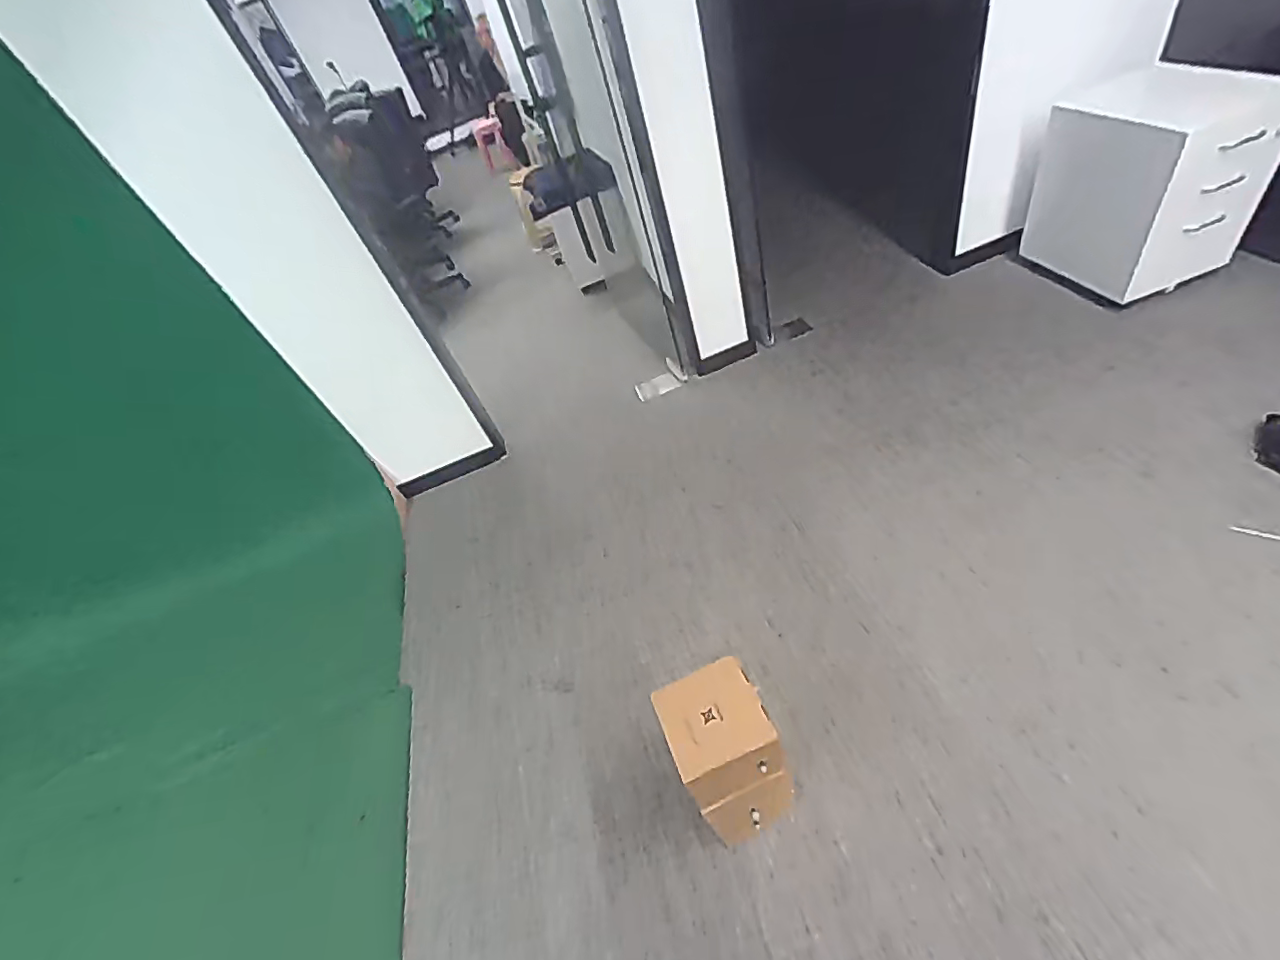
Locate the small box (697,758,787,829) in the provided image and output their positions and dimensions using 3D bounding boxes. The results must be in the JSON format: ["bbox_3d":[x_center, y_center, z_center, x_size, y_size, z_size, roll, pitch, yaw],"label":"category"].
[{"bbox_3d":[0.186,0.577,1.106,0.179,0.176,0.168,-25,44,-4],"label":"small box"}]

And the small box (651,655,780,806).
[{"bbox_3d":[0.144,0.463,0.998,0.179,0.176,0.168,-26,43,-4],"label":"small box"}]

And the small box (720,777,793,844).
[{"bbox_3d":[0.229,0.683,1.222,0.179,0.176,0.168,-28,44,-7],"label":"small box"}]
